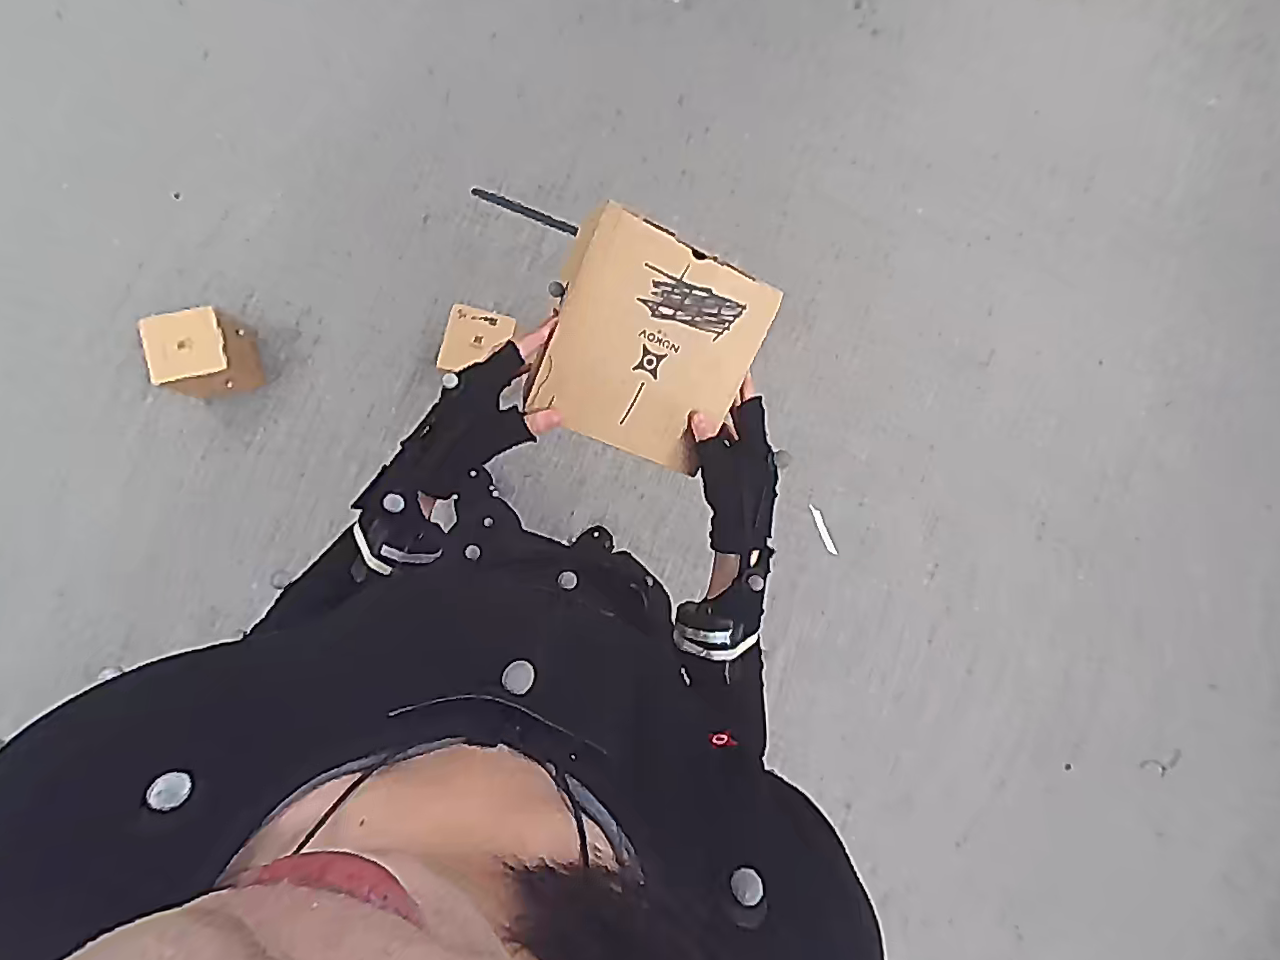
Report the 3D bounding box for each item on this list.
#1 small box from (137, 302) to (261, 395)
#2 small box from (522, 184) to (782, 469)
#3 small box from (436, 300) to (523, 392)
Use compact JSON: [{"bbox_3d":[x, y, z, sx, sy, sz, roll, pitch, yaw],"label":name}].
[{"bbox_3d":[-1.100,-0.327,1.370,0.179,0.176,0.168,-15,87,-6],"label":"small box"},{"bbox_3d":[-0.006,-0.139,0.505,0.168,0.176,0.179,20,105,-19],"label":"small box"},{"bbox_3d":[-0.418,-0.346,1.438,0.168,0.176,0.179,15,86,-5],"label":"small box"}]
